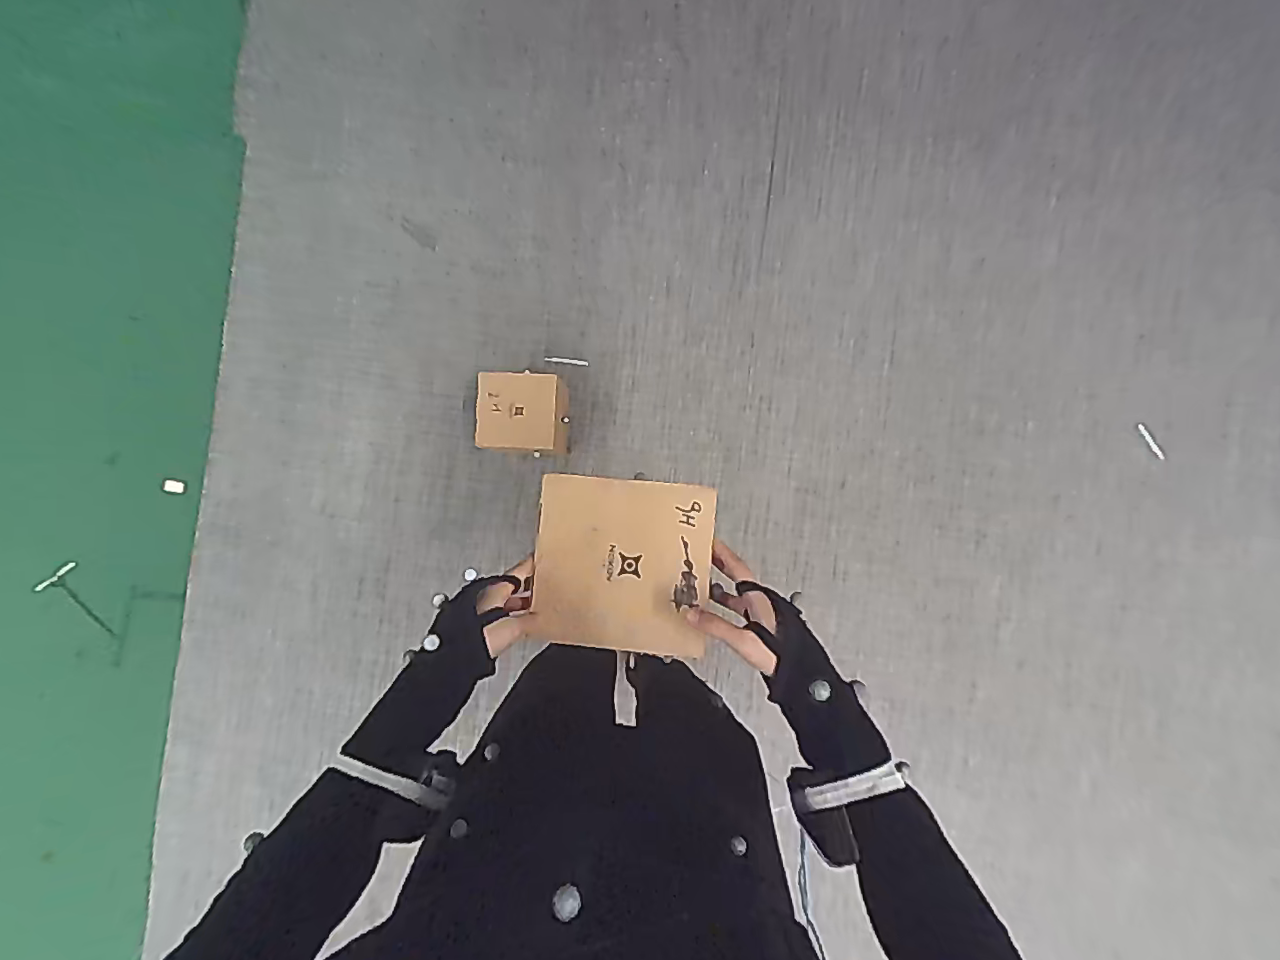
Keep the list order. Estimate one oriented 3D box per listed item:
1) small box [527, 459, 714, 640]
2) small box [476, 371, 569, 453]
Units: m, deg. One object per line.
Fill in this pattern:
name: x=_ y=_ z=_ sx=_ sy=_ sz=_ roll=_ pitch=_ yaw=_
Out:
small box: x=-0.012 y=0.074 z=0.620 sx=0.179 sy=0.176 sz=0.168 roll=6 pitch=87 yaw=6
small box: x=-0.267 y=-0.152 z=1.267 sx=0.179 sy=0.176 sz=0.168 roll=3 pitch=89 yaw=4
